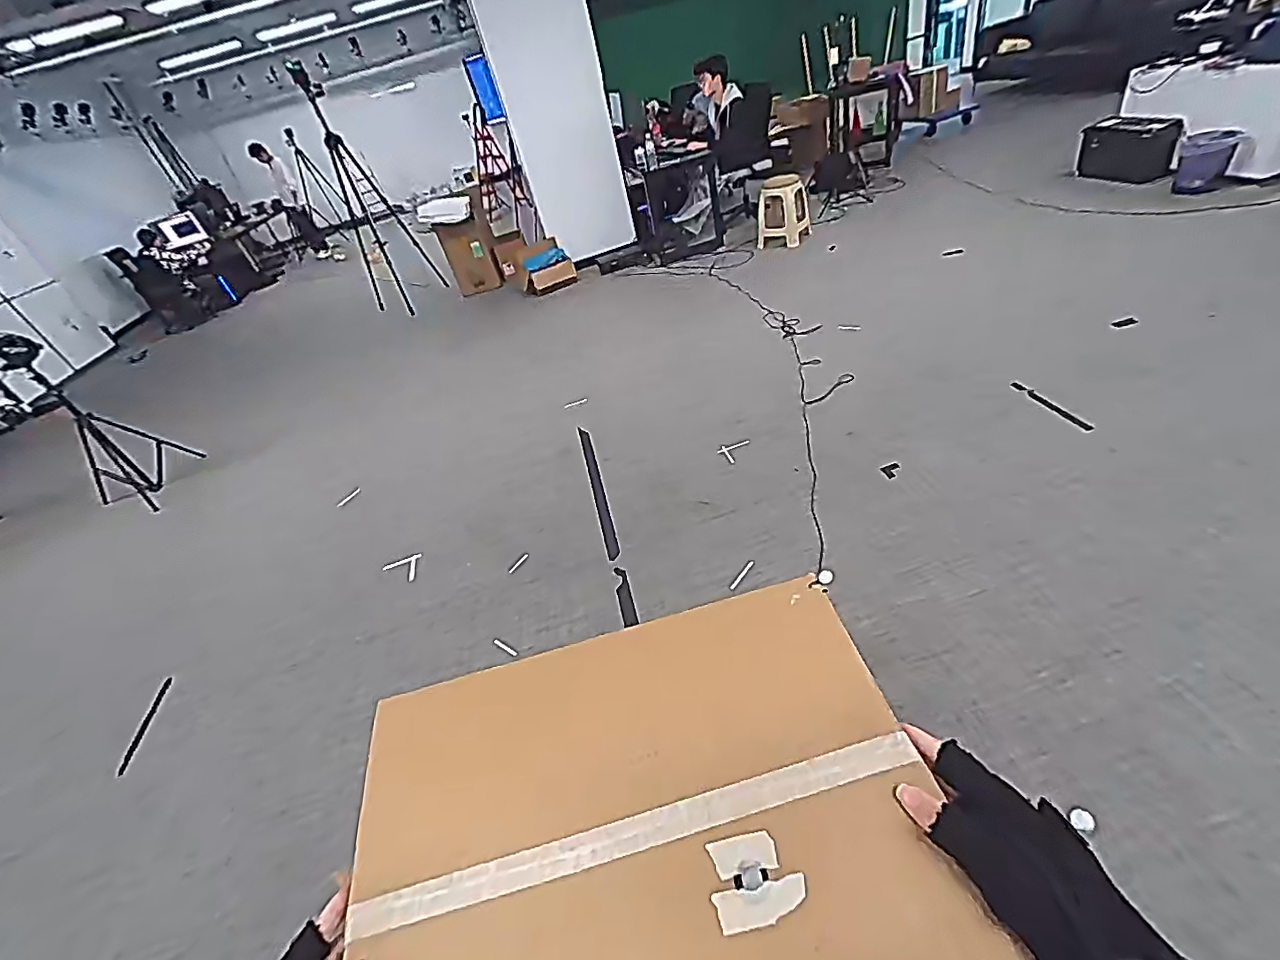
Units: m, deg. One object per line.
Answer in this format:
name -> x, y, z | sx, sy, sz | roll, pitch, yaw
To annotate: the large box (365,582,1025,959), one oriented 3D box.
large box -> 0.024, 0.354, 0.491 | 0.408, 0.320, 0.320 | -15, 45, -3
